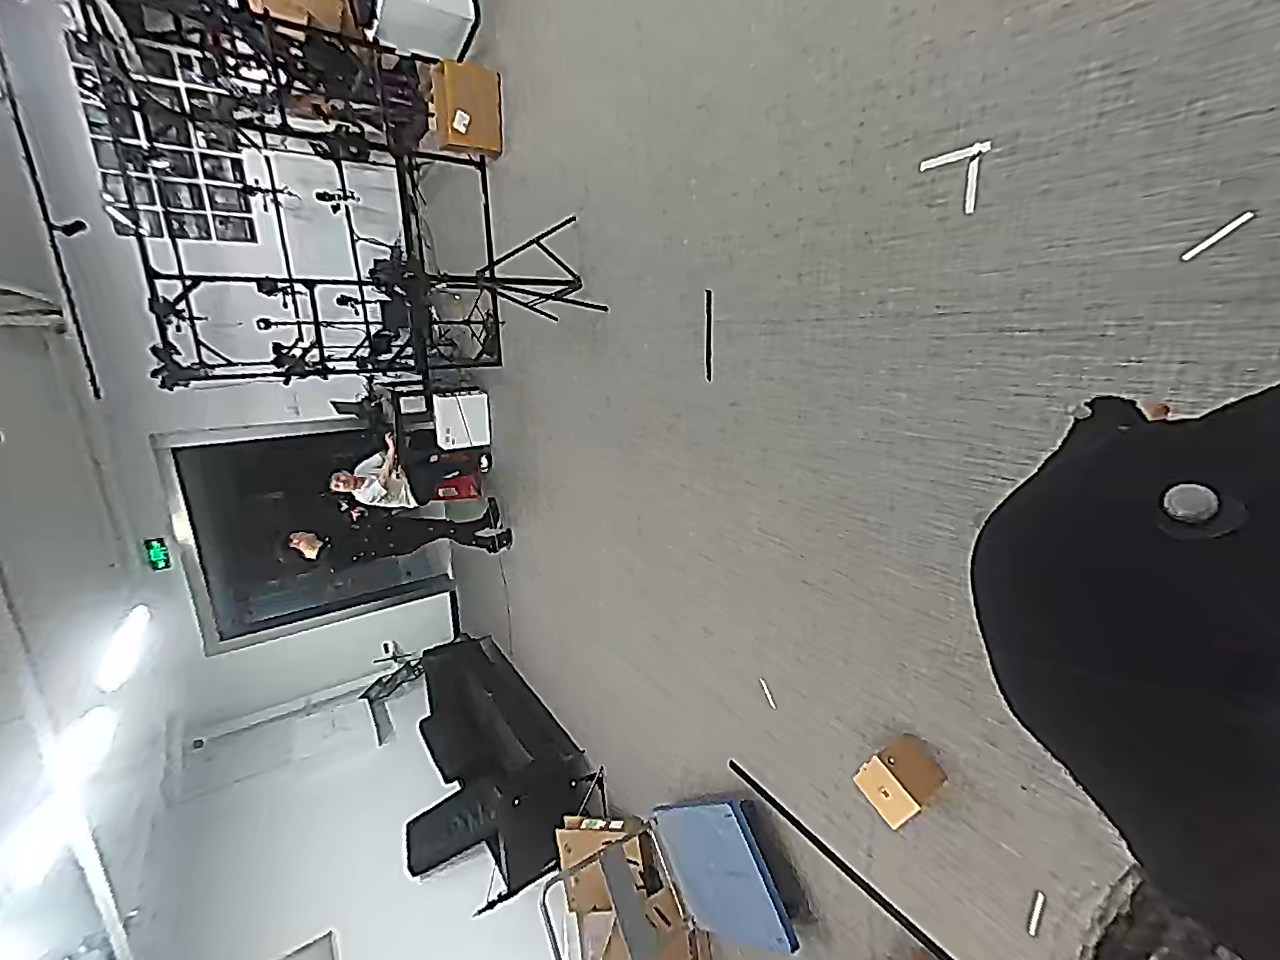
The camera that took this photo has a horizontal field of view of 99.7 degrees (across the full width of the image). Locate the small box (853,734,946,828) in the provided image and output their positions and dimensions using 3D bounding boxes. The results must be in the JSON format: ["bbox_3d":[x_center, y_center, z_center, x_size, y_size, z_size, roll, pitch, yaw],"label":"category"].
[{"bbox_3d":[0.825,0.949,1.716,0.179,0.176,0.168,50,138,38],"label":"small box"}]
